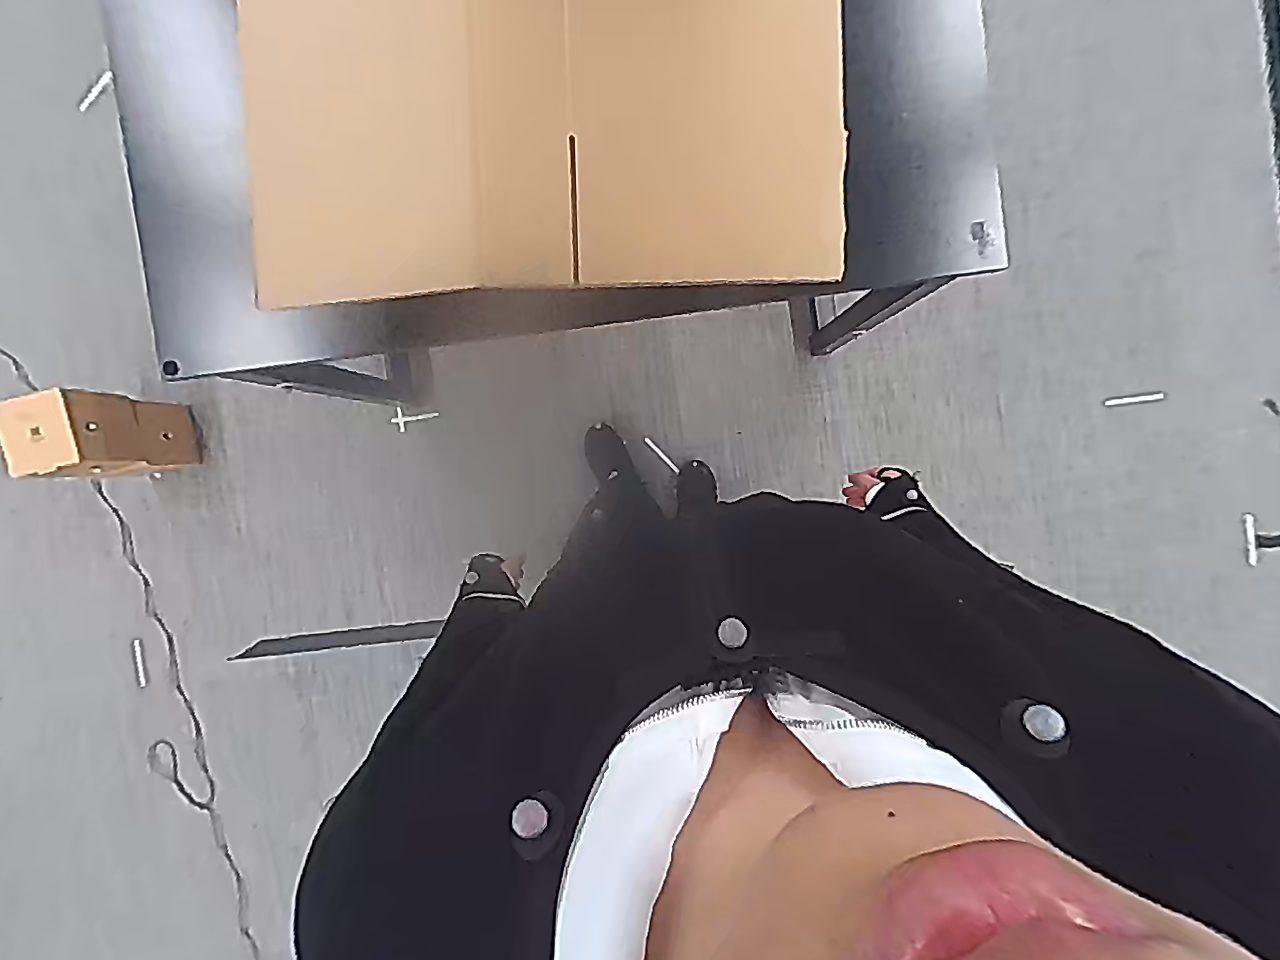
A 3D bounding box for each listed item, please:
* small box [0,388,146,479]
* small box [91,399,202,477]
[{"bbox_3d":[-1.344,-0.108,1.294,0.168,0.176,0.179,-14,91,2],"label":"small box"},{"bbox_3d":[-1.338,-0.109,1.457,0.168,0.176,0.179,-11,93,2],"label":"small box"}]
